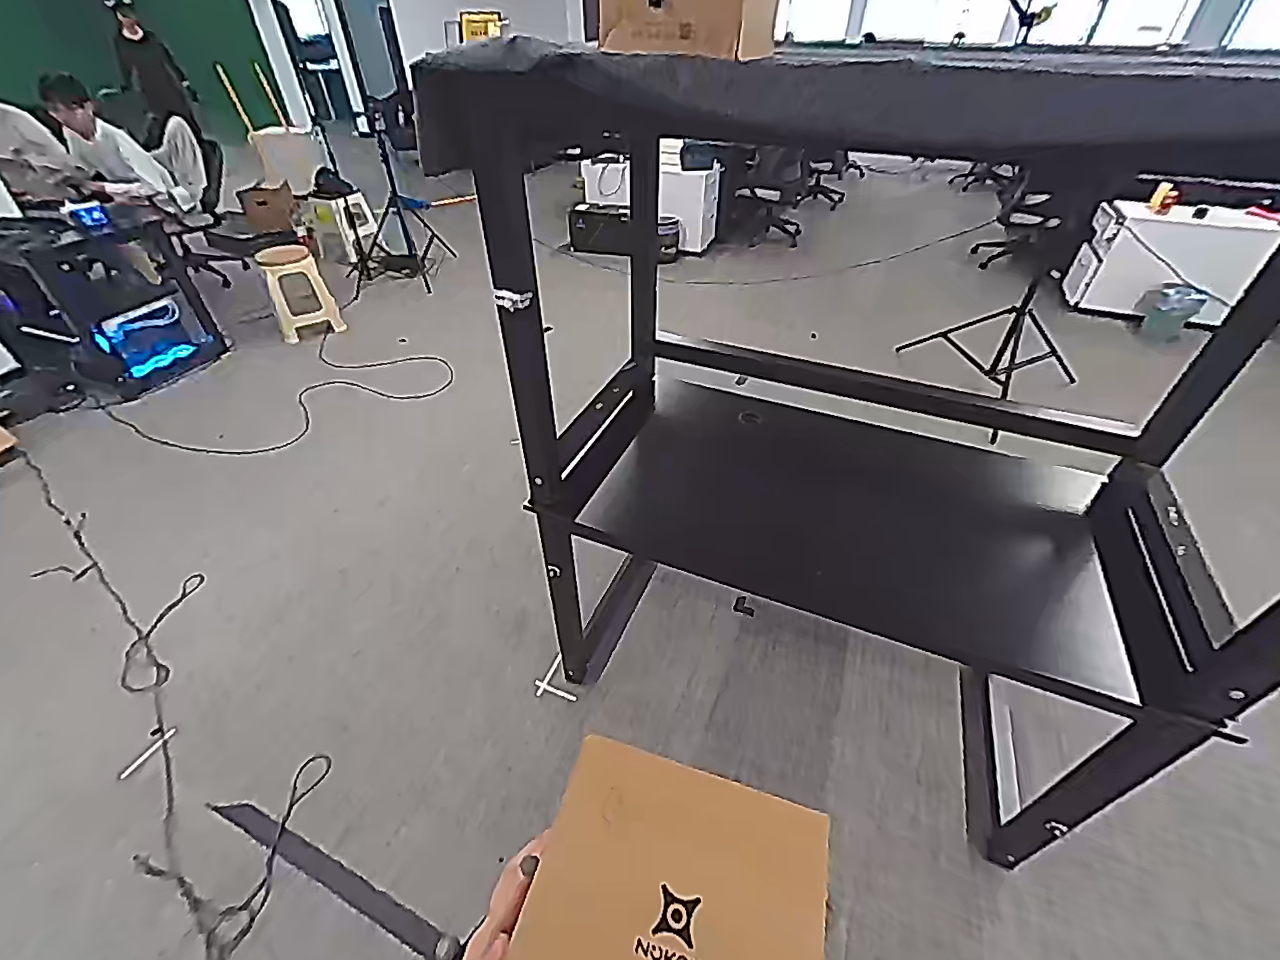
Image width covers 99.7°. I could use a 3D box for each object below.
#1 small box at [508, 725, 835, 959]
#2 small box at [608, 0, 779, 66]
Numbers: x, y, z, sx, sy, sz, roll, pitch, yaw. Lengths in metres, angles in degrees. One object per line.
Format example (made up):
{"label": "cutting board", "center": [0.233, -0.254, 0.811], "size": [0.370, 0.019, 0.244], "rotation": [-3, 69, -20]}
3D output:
{"label": "small box", "center": [0.015, 0.299, 0.351], "size": [0.168, 0.176, 0.179], "rotation": [15, 45, 10]}
{"label": "small box", "center": [0.067, -0.579, 0.605], "size": [0.168, 0.176, 0.179], "rotation": [16, 42, 16]}
